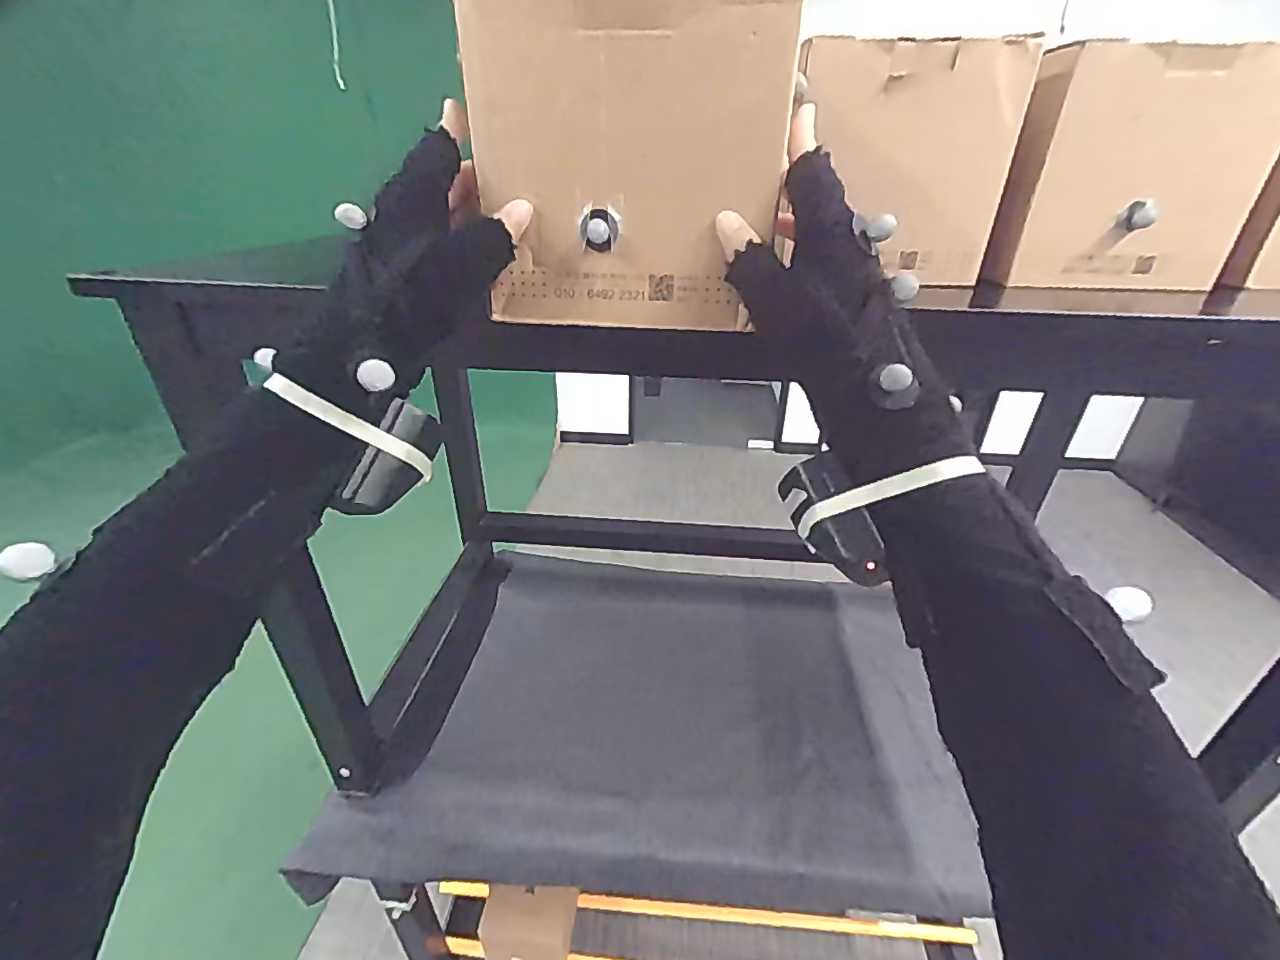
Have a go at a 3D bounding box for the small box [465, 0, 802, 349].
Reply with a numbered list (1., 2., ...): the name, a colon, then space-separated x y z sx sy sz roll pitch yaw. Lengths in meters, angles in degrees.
1. small box: 0.001 -0.198 0.365 0.168 0.176 0.179 3 31 5
